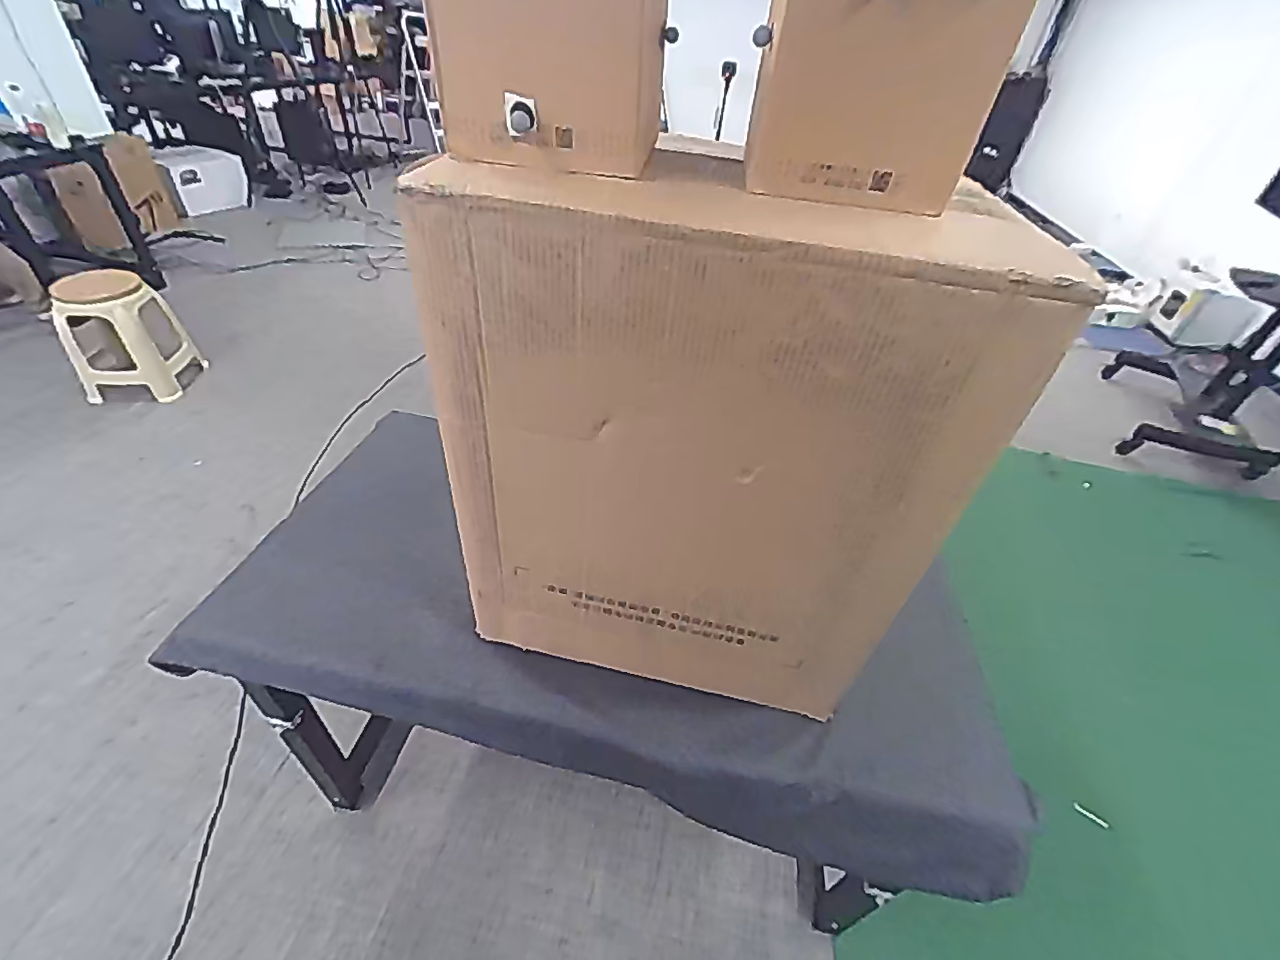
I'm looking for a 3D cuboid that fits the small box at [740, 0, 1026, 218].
[{"bbox_3d":[0.181,-0.343,0.459,0.168,0.176,0.179,7,42,3],"label":"small box"}]

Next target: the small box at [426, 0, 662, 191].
[{"bbox_3d":[-0.072,-0.370,0.468,0.168,0.176,0.179,6,43,4],"label":"small box"}]
